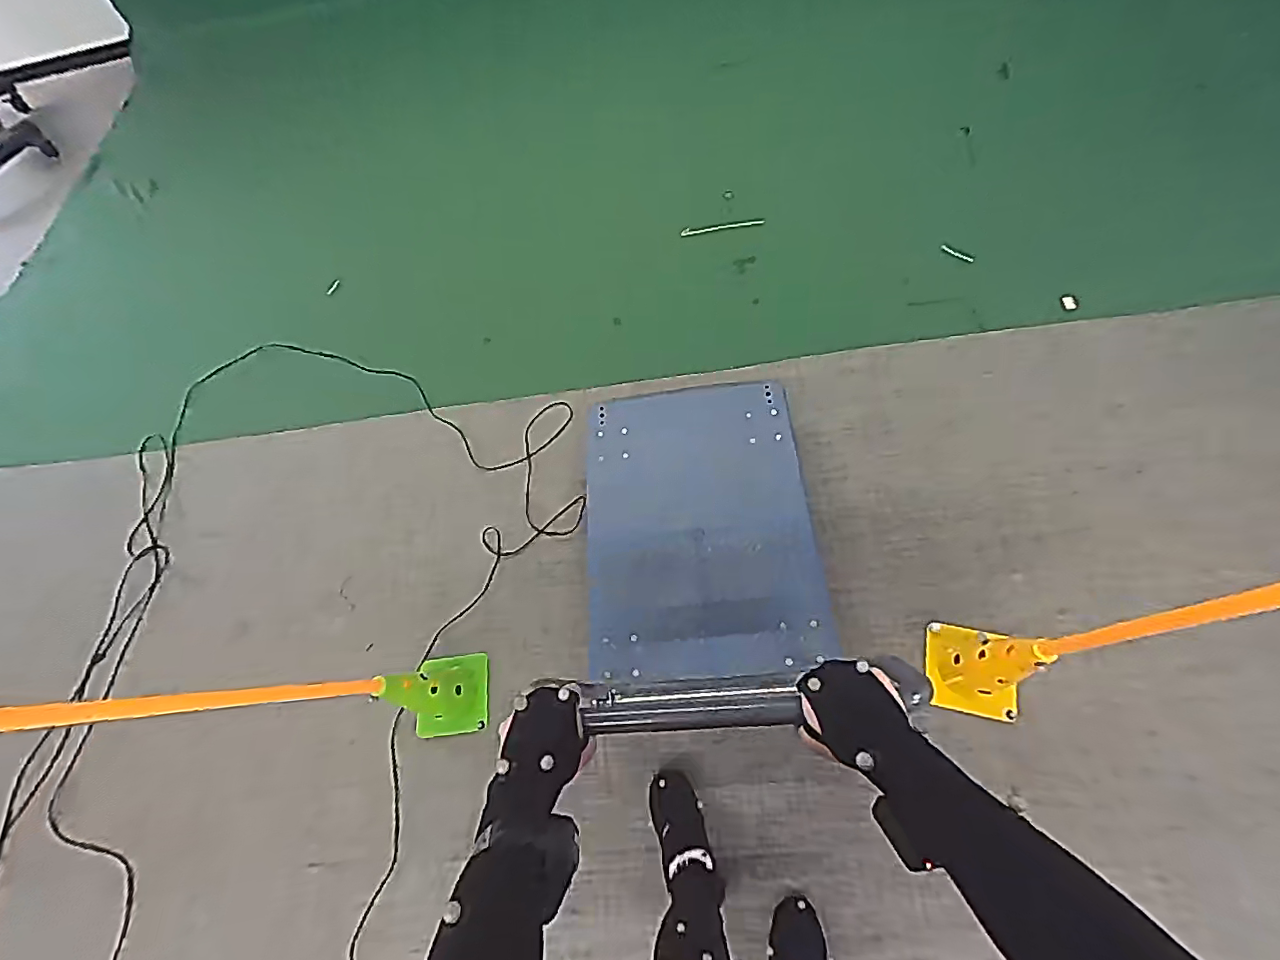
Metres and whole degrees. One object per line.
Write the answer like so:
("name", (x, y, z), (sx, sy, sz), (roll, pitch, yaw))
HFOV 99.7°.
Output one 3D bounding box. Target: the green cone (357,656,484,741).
("green cone", (-0.546, 0.514, 1.305), (0.202, 0.368, 0.200), (-11, 63, 6))
